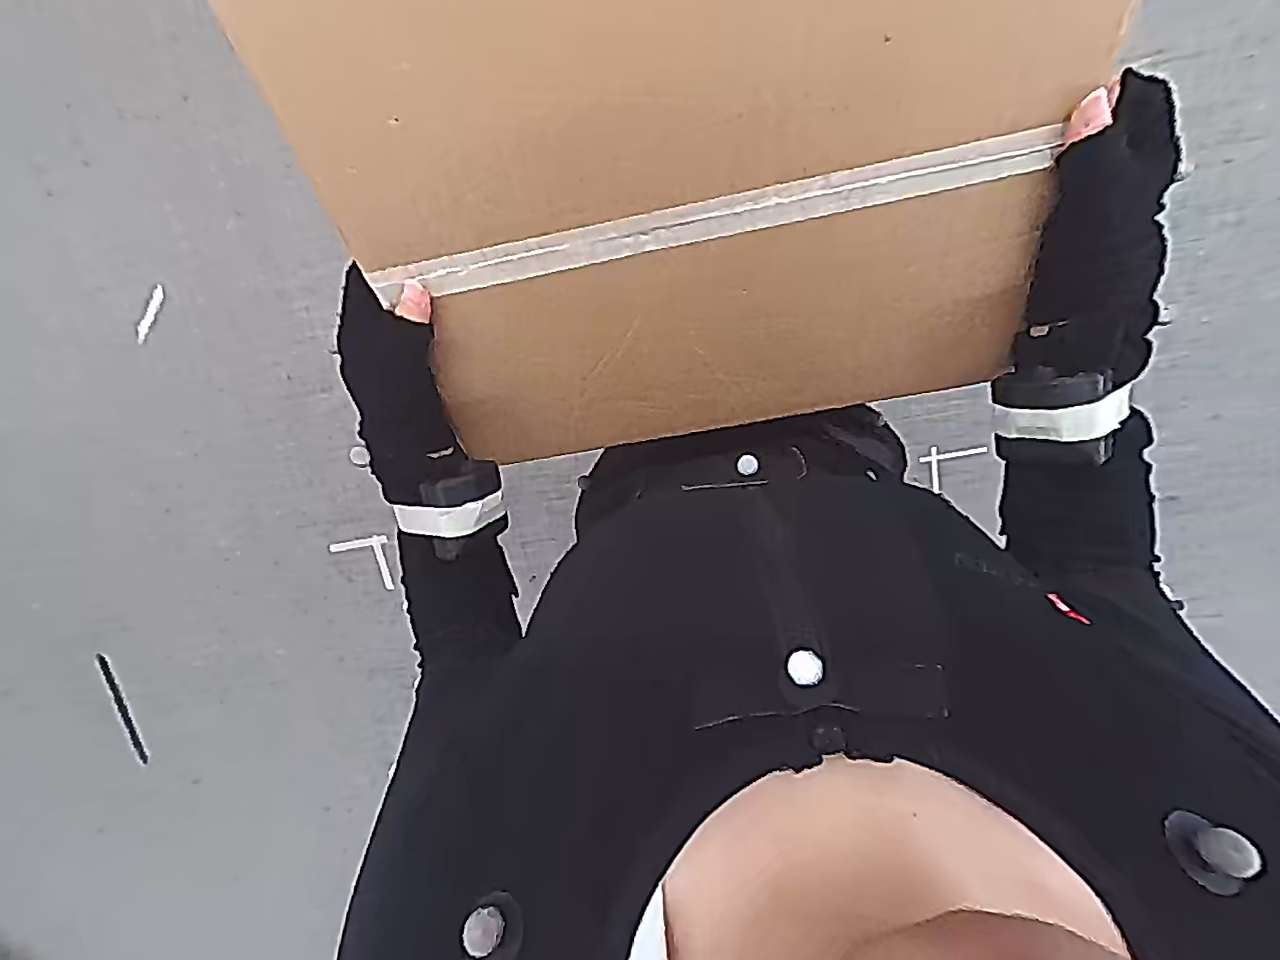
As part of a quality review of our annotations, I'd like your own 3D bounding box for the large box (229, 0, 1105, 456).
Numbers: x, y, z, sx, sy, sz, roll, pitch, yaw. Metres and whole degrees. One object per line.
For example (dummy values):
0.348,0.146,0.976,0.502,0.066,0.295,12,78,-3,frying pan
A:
0.030,-0.262,0.422,0.408,0.320,0.320,-9,135,5,large box
